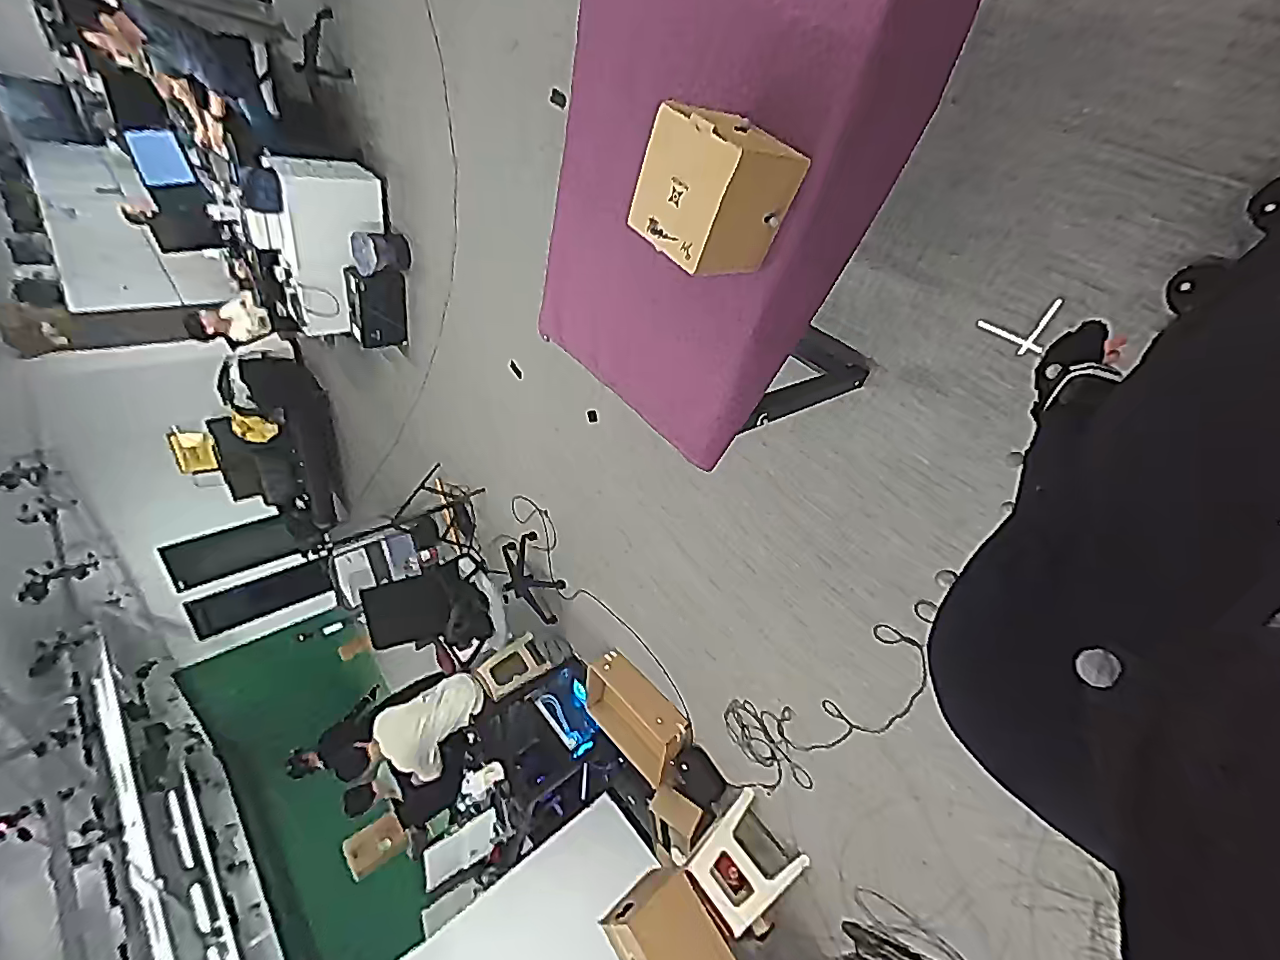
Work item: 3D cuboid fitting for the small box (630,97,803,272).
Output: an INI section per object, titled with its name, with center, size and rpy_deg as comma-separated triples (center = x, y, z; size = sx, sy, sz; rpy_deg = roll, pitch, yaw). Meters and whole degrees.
[small box]
center = 0.119, -0.441, 0.823
size = 0.168, 0.176, 0.179
rpy_deg = 49, 137, 25
